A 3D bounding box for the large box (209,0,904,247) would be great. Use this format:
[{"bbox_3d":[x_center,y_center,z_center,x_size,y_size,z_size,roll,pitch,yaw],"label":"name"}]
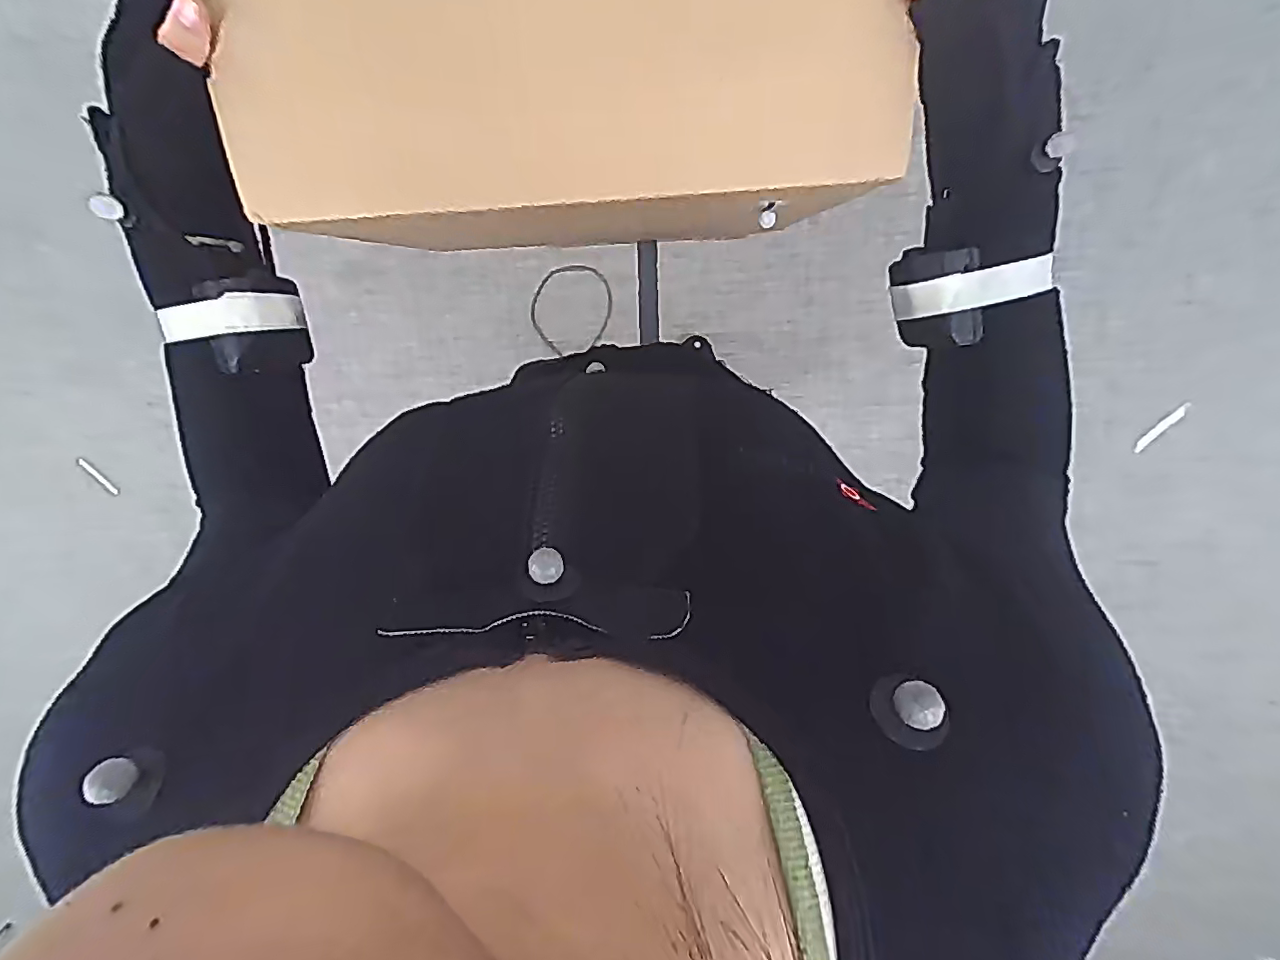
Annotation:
[{"bbox_3d":[-0.048,-0.372,0.431,0.408,0.320,0.320,-3,109,2],"label":"large box"}]
